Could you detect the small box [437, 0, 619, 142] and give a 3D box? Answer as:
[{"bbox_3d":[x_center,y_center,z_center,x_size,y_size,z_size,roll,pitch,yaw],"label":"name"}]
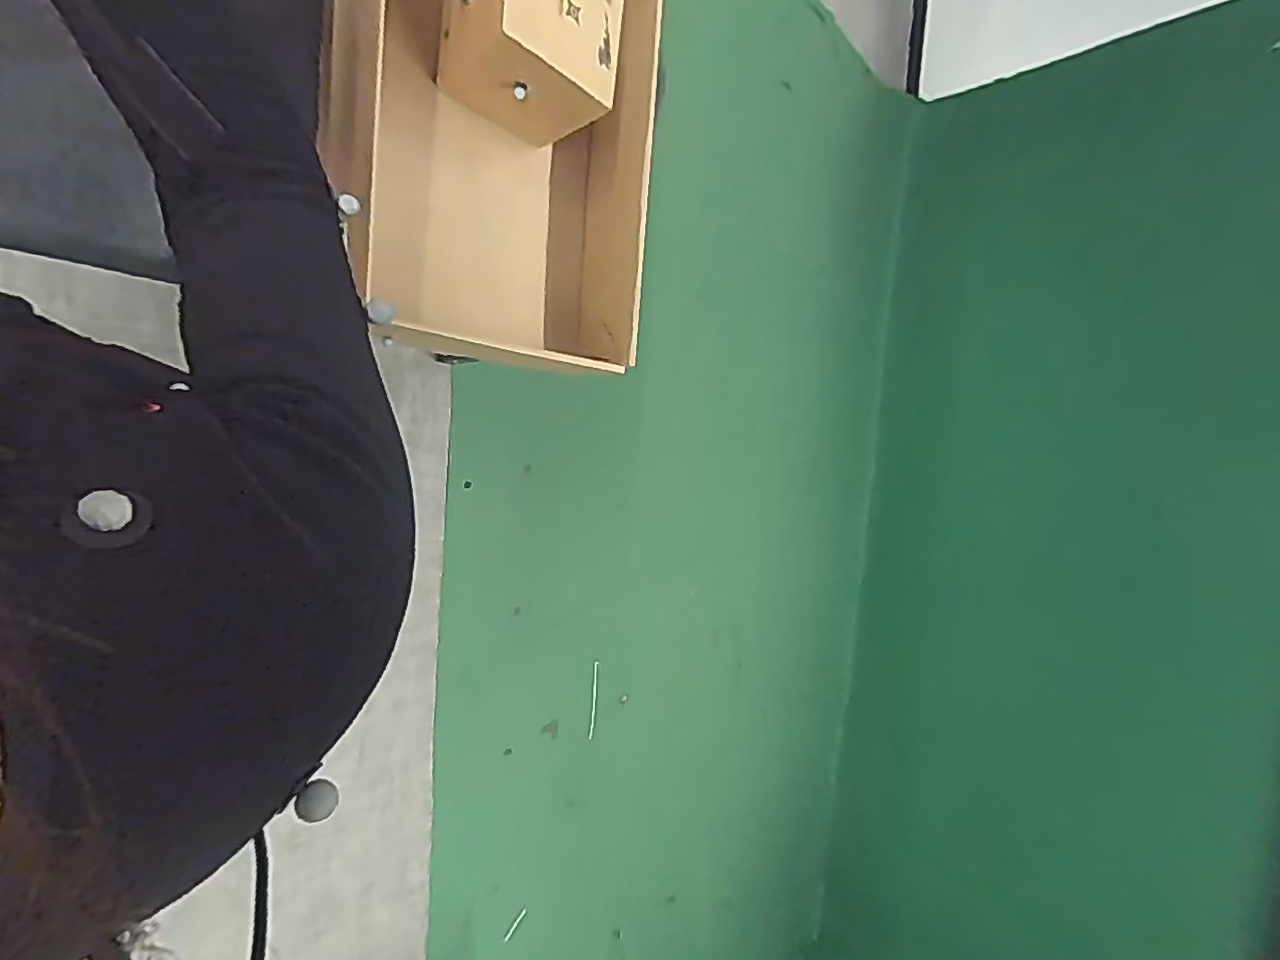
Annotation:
[{"bbox_3d":[-0.153,-0.592,0.724,0.179,0.176,0.168,3,95,-44],"label":"small box"}]
